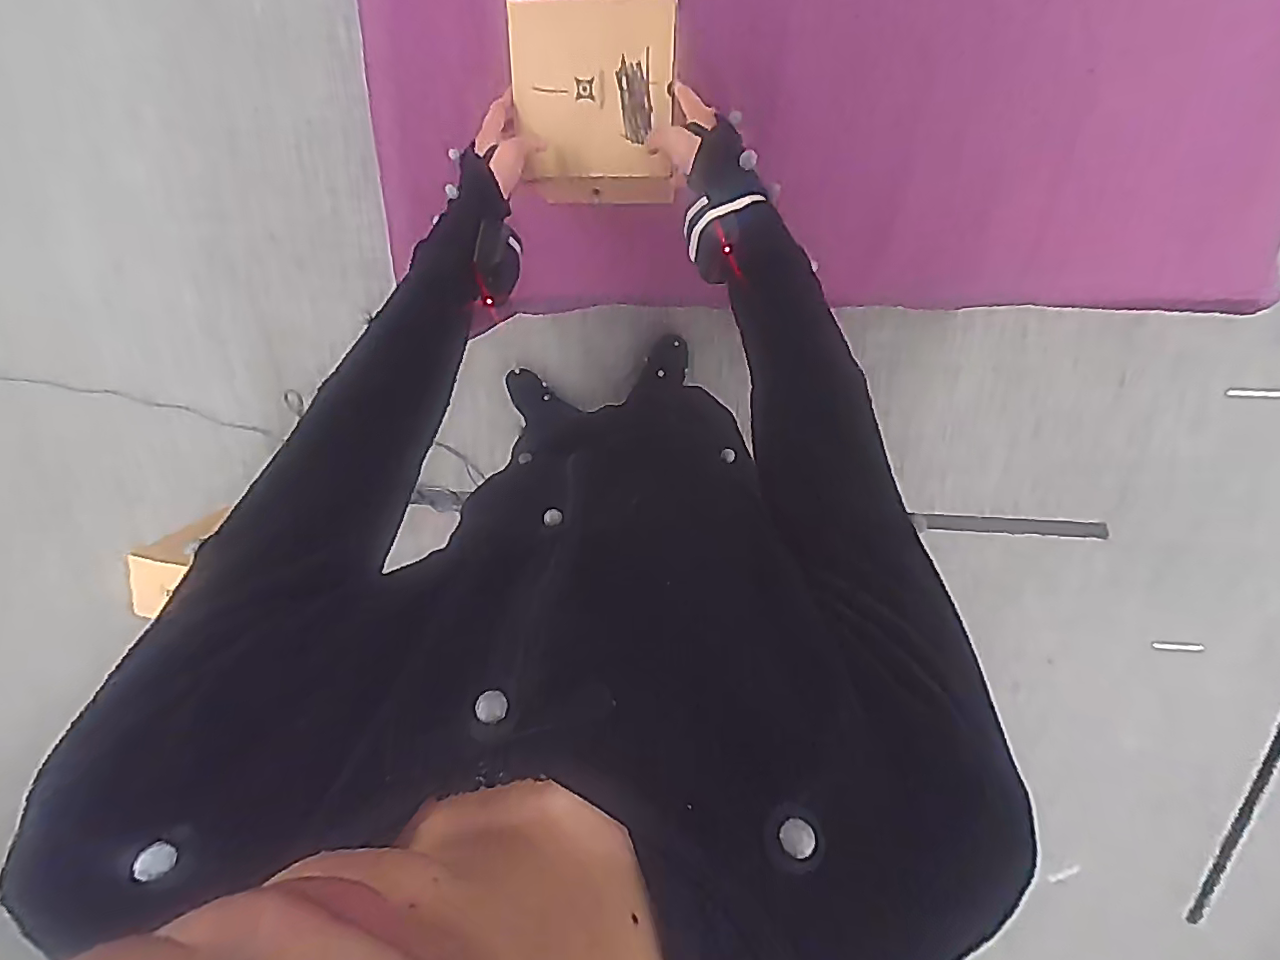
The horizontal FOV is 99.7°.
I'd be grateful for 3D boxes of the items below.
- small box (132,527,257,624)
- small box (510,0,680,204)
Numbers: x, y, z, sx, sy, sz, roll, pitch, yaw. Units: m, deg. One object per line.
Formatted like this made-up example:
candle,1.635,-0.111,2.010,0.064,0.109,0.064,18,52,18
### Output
small box,-1.111,0.232,1.361,0.179,0.176,0.168,11,109,1
small box,-0.043,-0.437,0.647,0.179,0.176,0.168,2,108,4
